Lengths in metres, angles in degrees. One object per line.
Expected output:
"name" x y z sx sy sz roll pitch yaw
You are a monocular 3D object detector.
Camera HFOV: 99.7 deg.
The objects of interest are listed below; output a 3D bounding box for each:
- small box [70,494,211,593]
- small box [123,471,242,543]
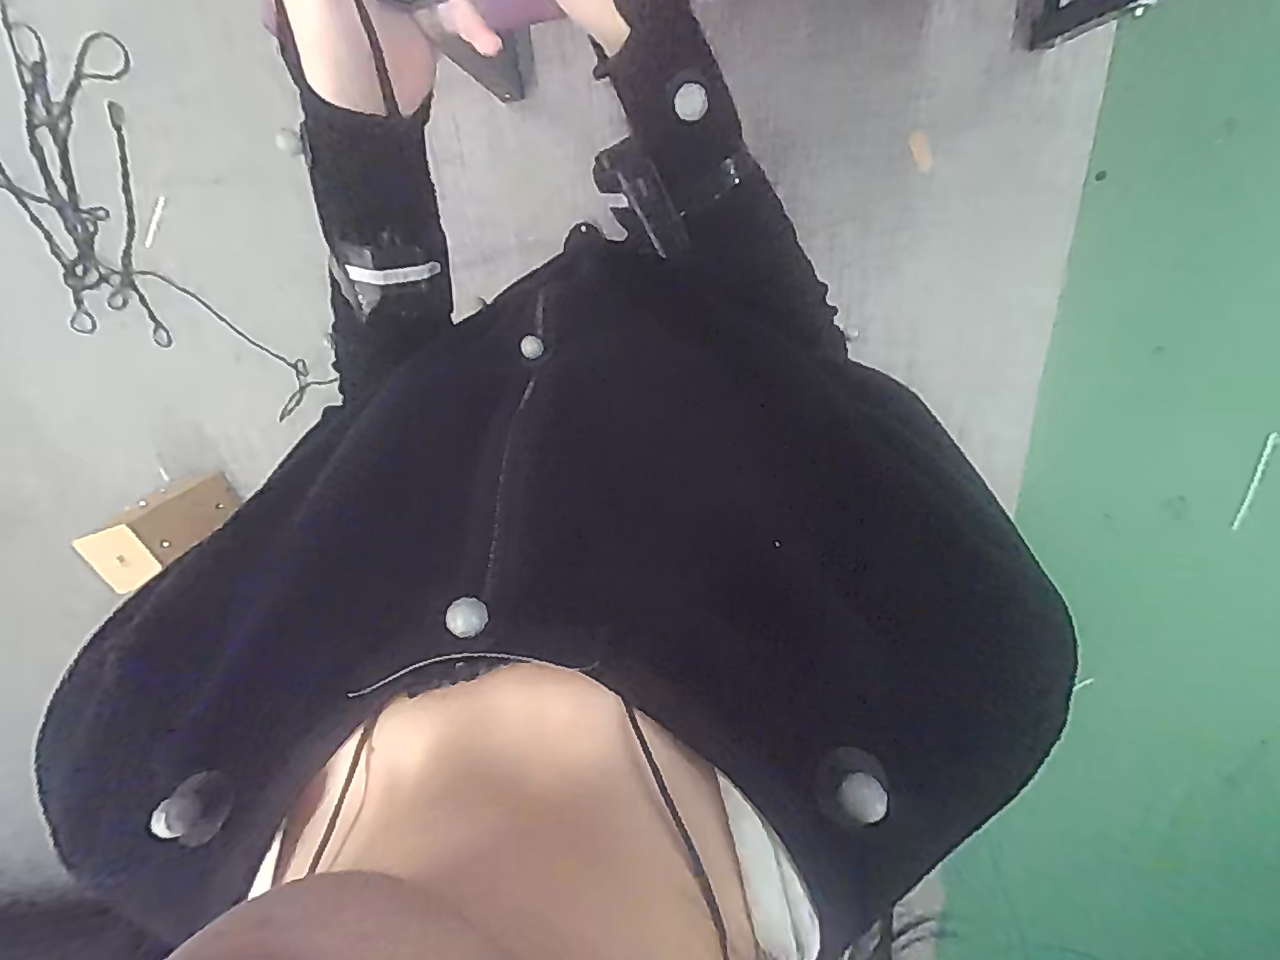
"small box" -1.297 0.164 1.423 0.168 0.176 0.179 -16 114 8
"small box" -1.308 0.089 1.567 0.179 0.176 0.168 -12 115 7
